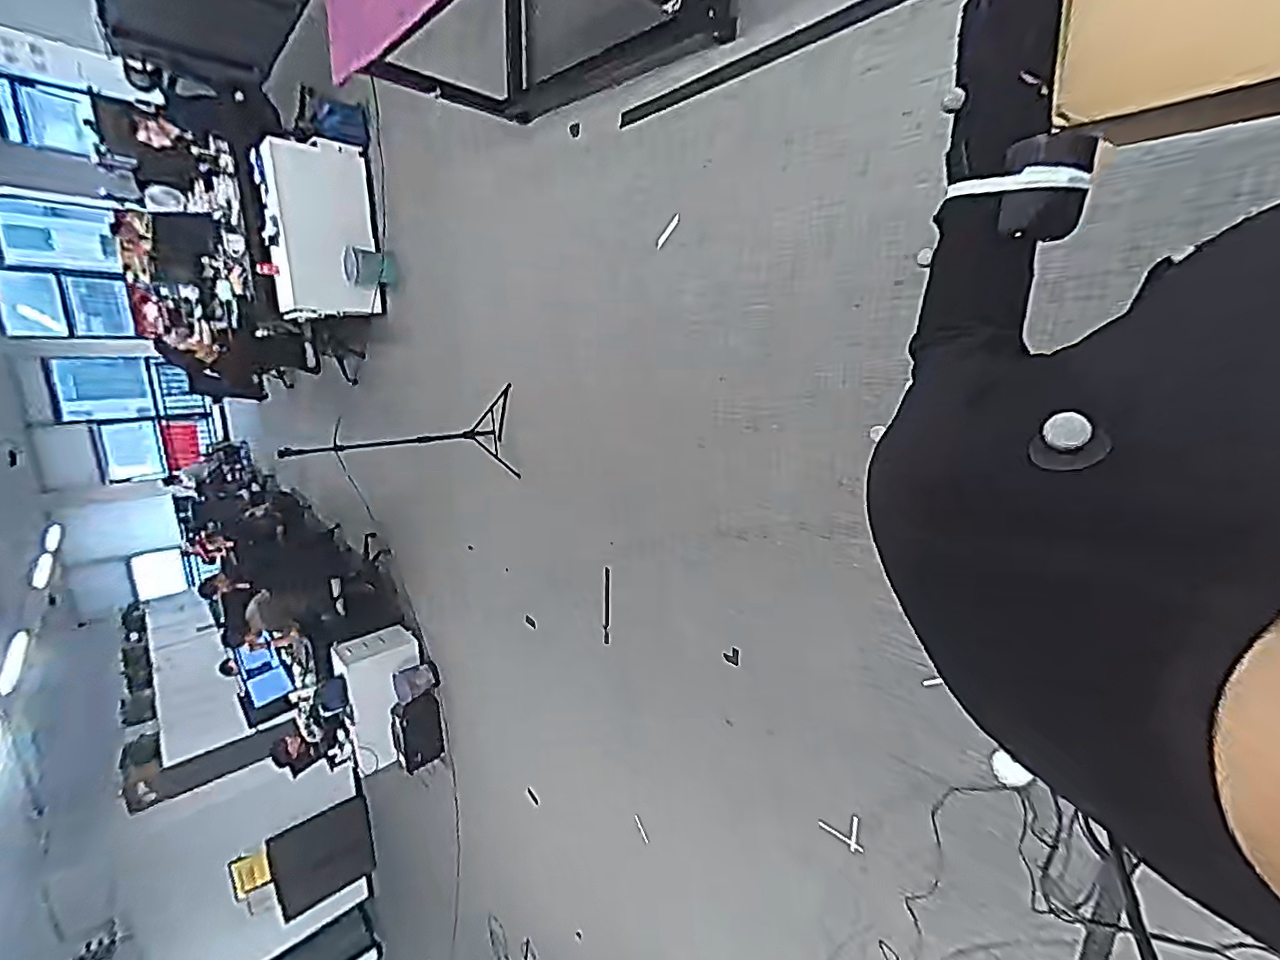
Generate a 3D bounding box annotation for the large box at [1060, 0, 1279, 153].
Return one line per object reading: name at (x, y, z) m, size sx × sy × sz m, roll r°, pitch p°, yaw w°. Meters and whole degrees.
large box at (0.520, -0.416, 0.302) m, size 0.408 × 0.320 × 0.320 m, roll 11°, pitch 119°, yaw 43°
